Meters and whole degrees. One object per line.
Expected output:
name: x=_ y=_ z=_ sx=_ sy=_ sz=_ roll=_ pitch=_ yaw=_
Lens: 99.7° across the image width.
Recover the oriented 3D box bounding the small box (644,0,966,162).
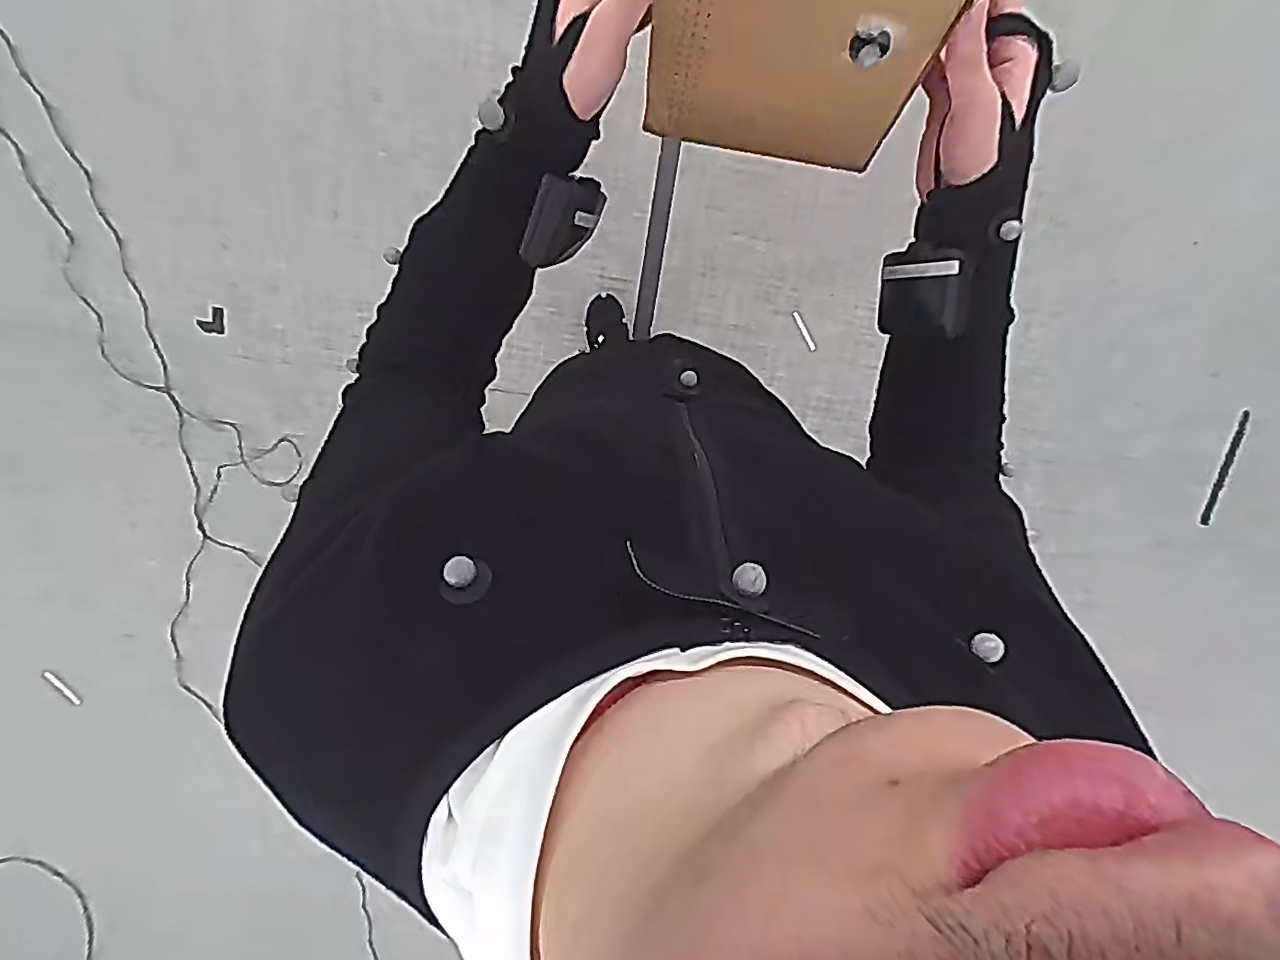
small box: x=0.097 y=-0.337 z=0.328 sx=0.176 sy=0.179 sz=0.168 roll=9 pitch=77 yaw=-4
